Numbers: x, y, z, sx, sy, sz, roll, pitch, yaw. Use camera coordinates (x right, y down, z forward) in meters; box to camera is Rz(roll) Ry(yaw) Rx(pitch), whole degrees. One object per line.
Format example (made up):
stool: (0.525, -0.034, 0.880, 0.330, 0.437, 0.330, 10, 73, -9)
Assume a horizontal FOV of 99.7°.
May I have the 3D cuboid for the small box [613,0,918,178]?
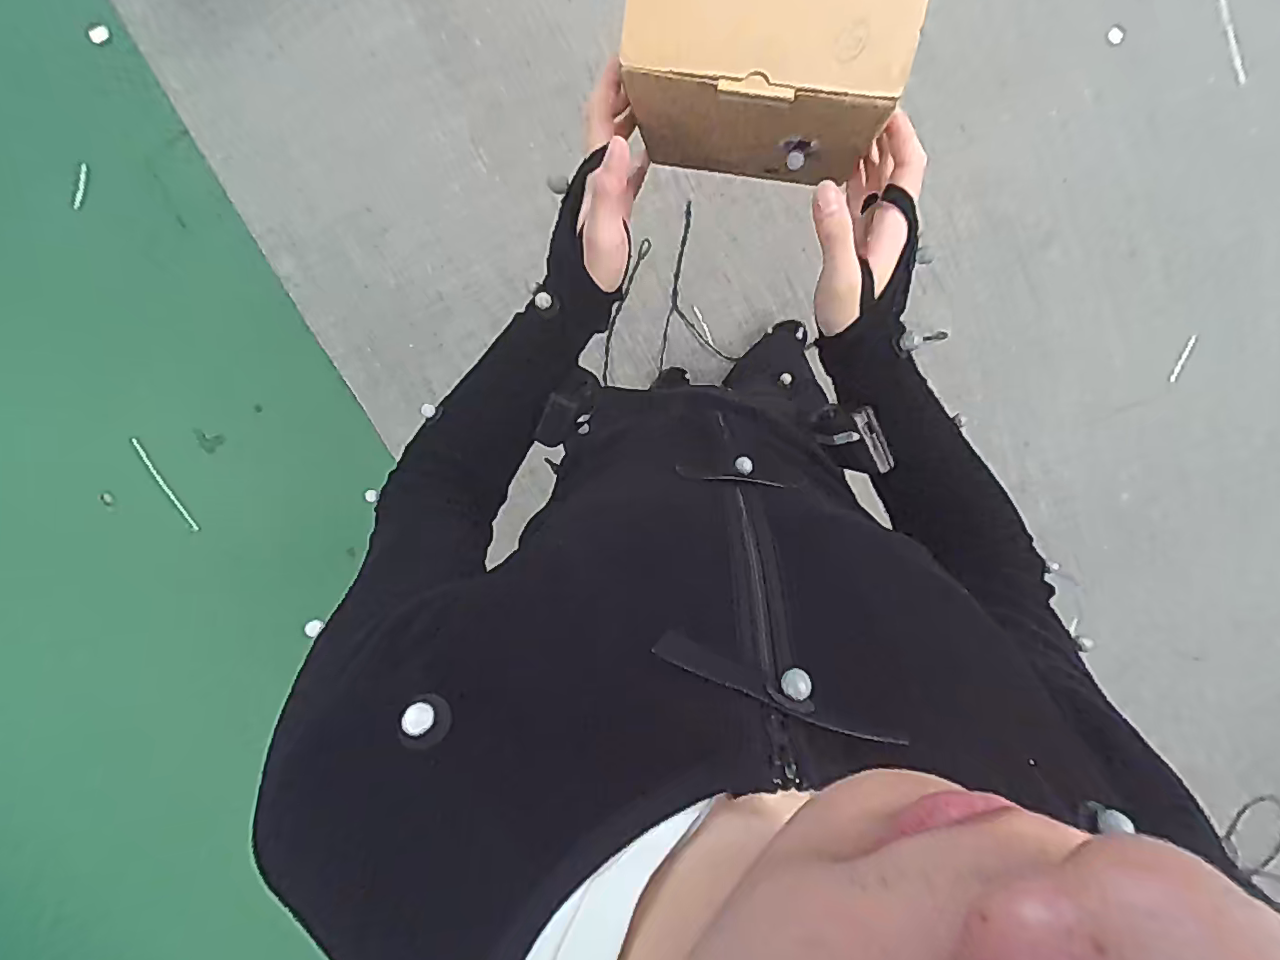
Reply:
small box: (0.089, -0.329, 0.365, 0.168, 0.176, 0.179, 12, 104, 5)
